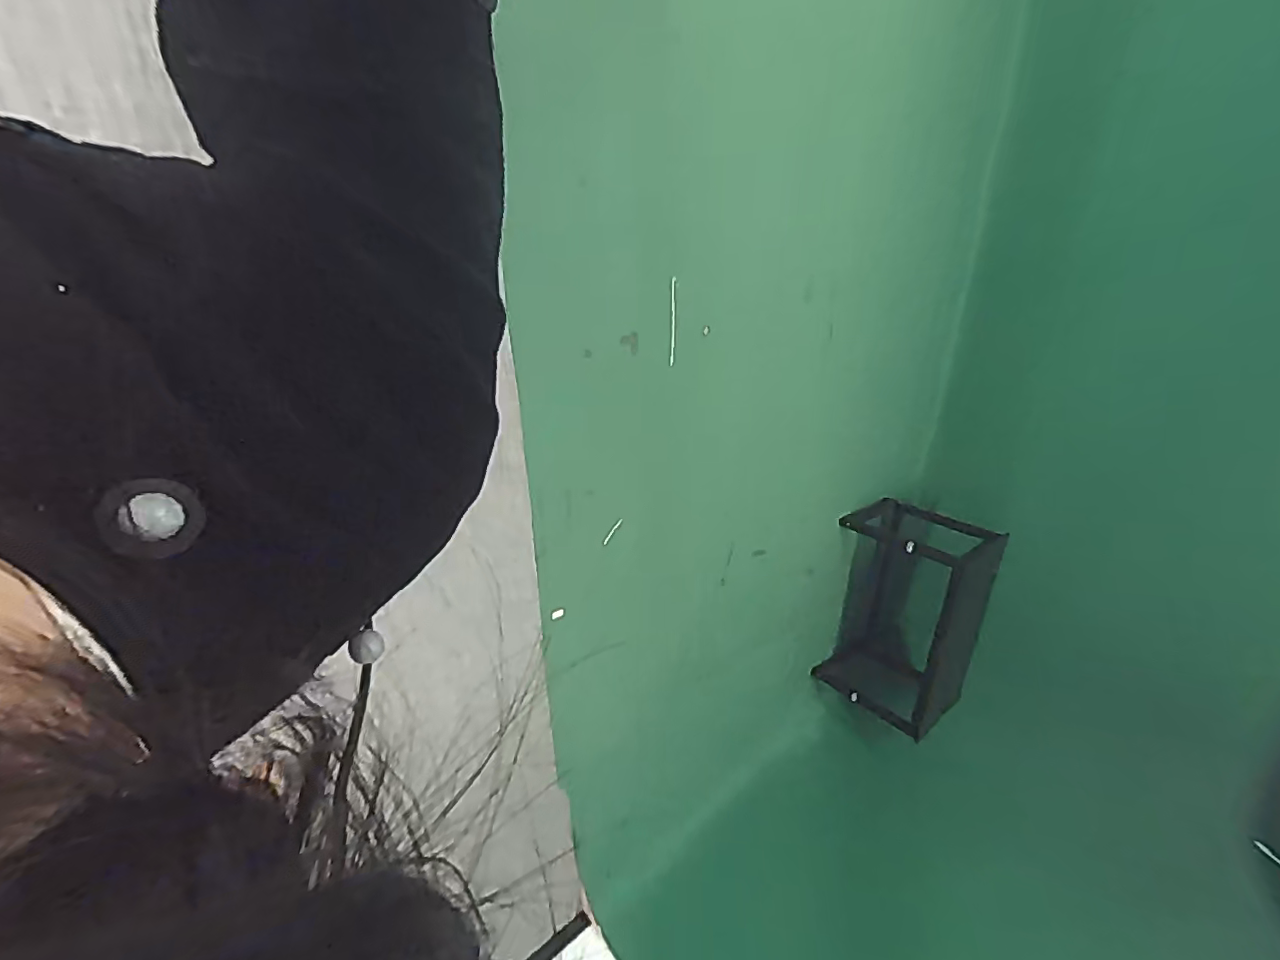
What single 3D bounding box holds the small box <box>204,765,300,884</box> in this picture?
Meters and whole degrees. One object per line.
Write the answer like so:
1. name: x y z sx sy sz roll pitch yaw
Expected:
1. small box: -1.041 0.911 1.450 0.179 0.176 0.168 -14 115 -37
